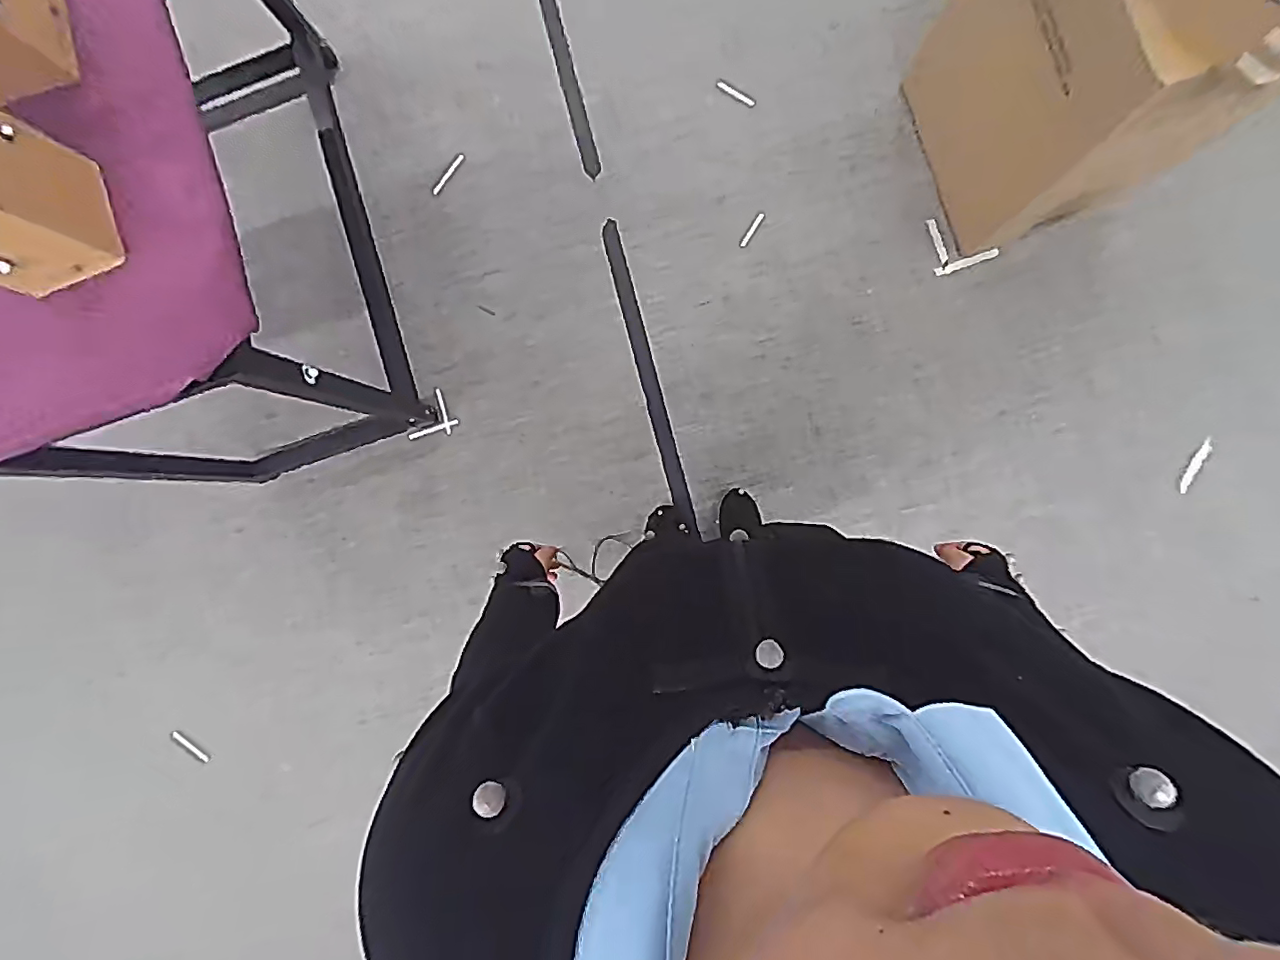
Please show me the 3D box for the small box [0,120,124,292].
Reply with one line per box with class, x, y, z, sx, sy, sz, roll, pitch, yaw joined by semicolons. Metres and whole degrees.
small box;-0.928;-0.400;0.799;0.168;0.176;0.179;-20;86;4
